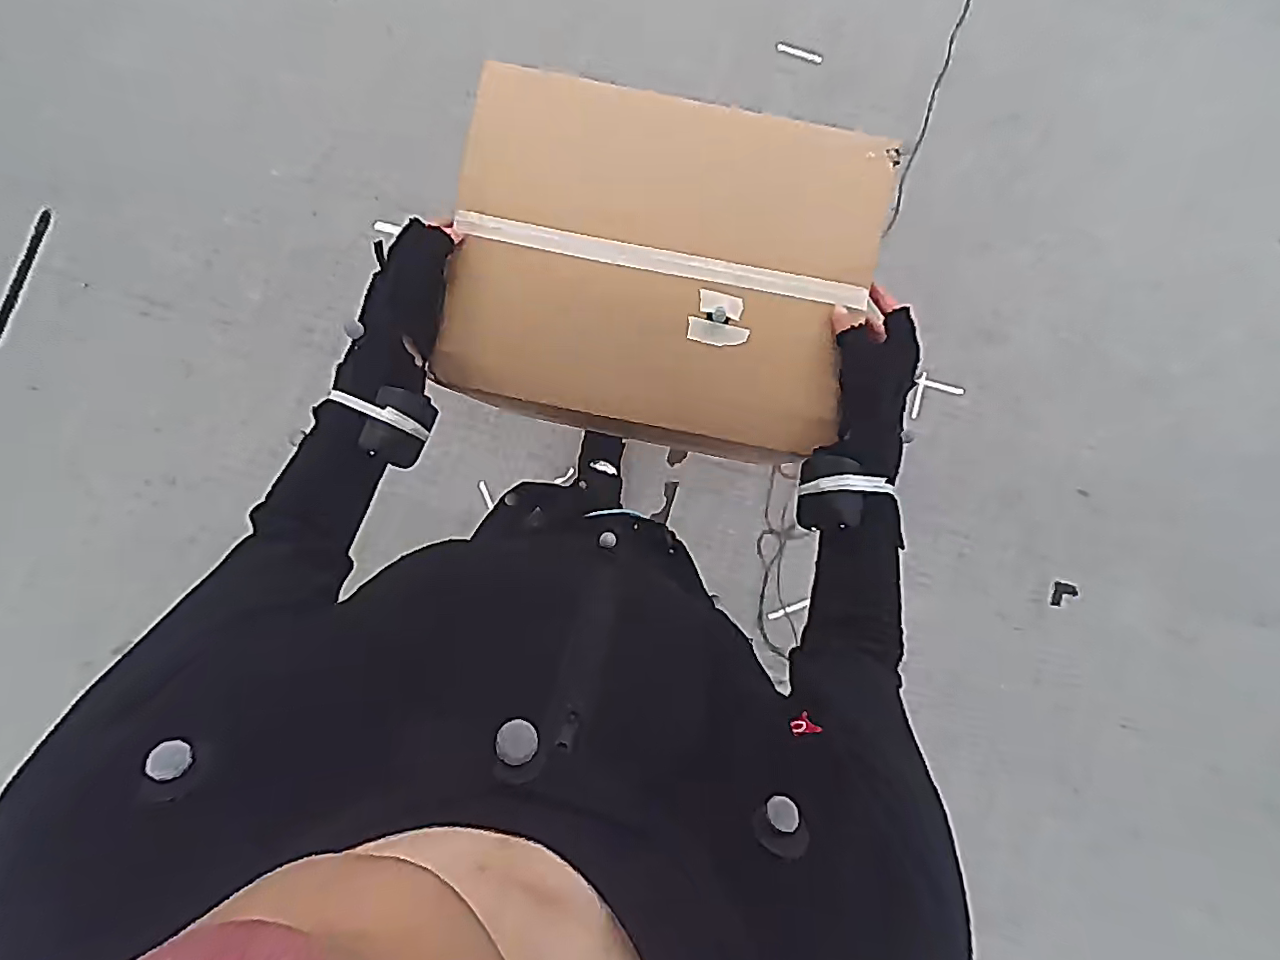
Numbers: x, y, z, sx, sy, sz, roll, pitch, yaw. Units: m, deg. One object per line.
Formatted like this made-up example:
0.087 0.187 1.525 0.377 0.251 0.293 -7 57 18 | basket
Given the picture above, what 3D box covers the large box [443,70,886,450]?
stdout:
0.022 -0.227 0.688 0.408 0.320 0.320 12 92 0 | large box
